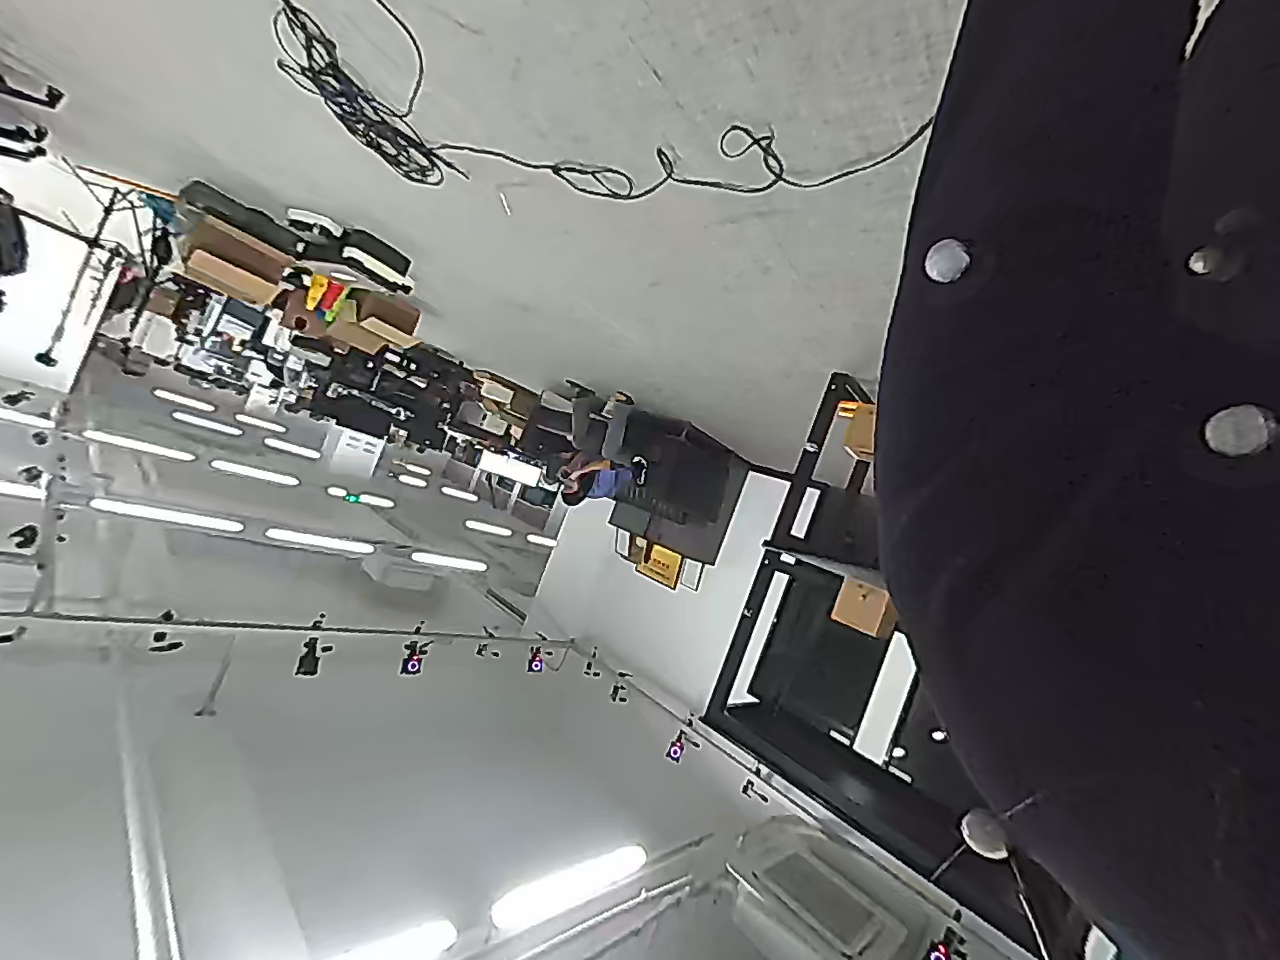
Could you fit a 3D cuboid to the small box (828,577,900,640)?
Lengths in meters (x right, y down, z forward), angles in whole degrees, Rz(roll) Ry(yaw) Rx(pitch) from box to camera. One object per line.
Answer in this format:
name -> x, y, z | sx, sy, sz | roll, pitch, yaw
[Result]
small box -> 0.814, 0.463, 1.953 | 0.168, 0.176, 0.179 | 18, 177, 42
